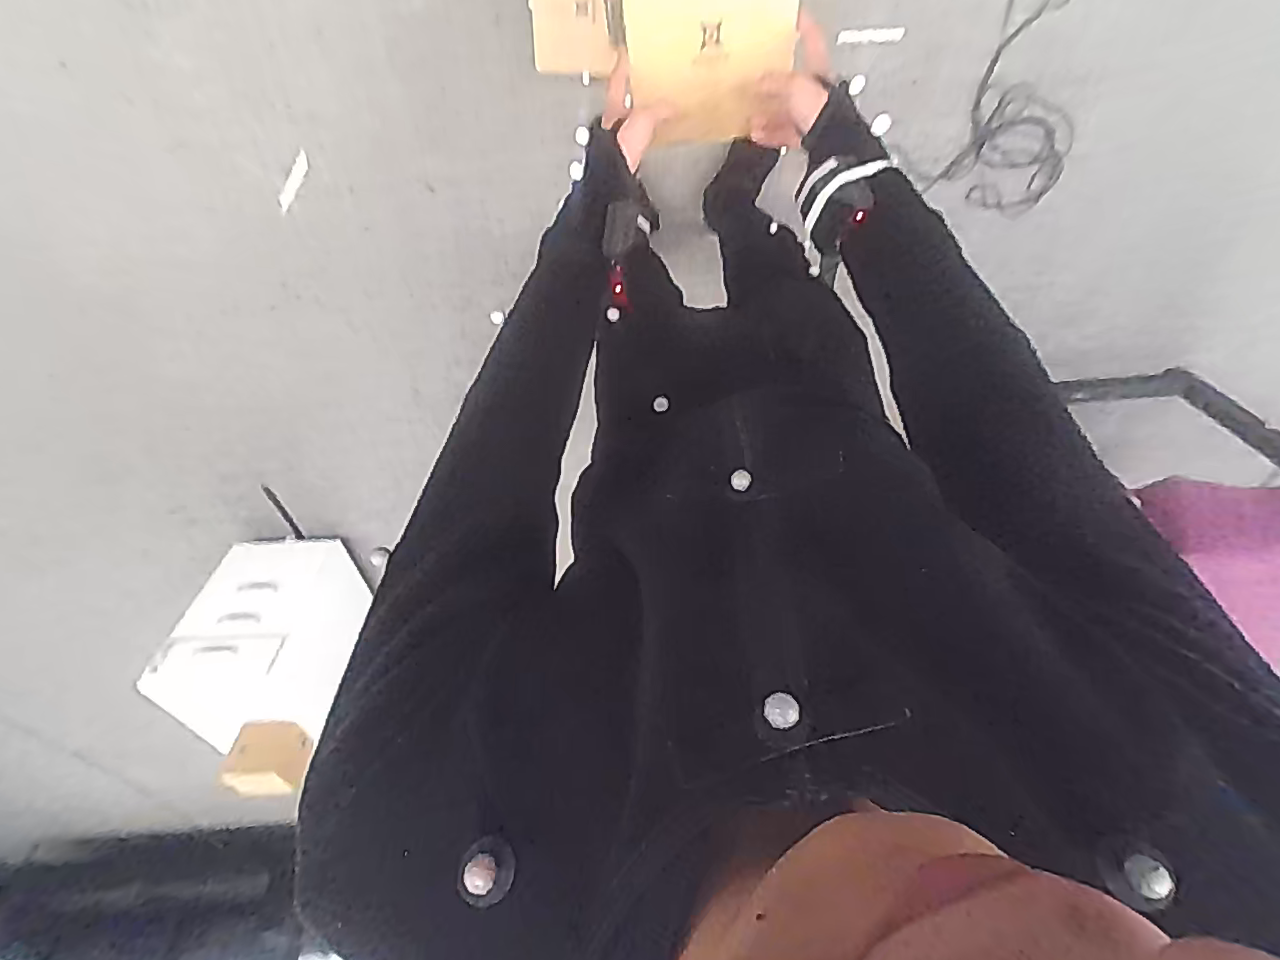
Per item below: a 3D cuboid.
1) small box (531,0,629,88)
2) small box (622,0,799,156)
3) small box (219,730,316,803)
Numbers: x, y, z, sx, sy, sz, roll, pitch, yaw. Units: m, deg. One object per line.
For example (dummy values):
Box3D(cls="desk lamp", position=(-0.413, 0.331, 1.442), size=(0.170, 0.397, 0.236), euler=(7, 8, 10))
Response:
Box3D(cls="small box", position=(-0.085, -0.771, 0.907), size=(0.179, 0.176, 0.168), euler=(1, 130, -2))
Box3D(cls="small box", position=(0.066, -0.478, 0.577), size=(0.168, 0.176, 0.179), euler=(-4, 139, 4))
Box3D(cls="small box", position=(-1.209, 0.935, 1.770), size=(0.179, 0.176, 0.168), euler=(-1, 132, -1))
